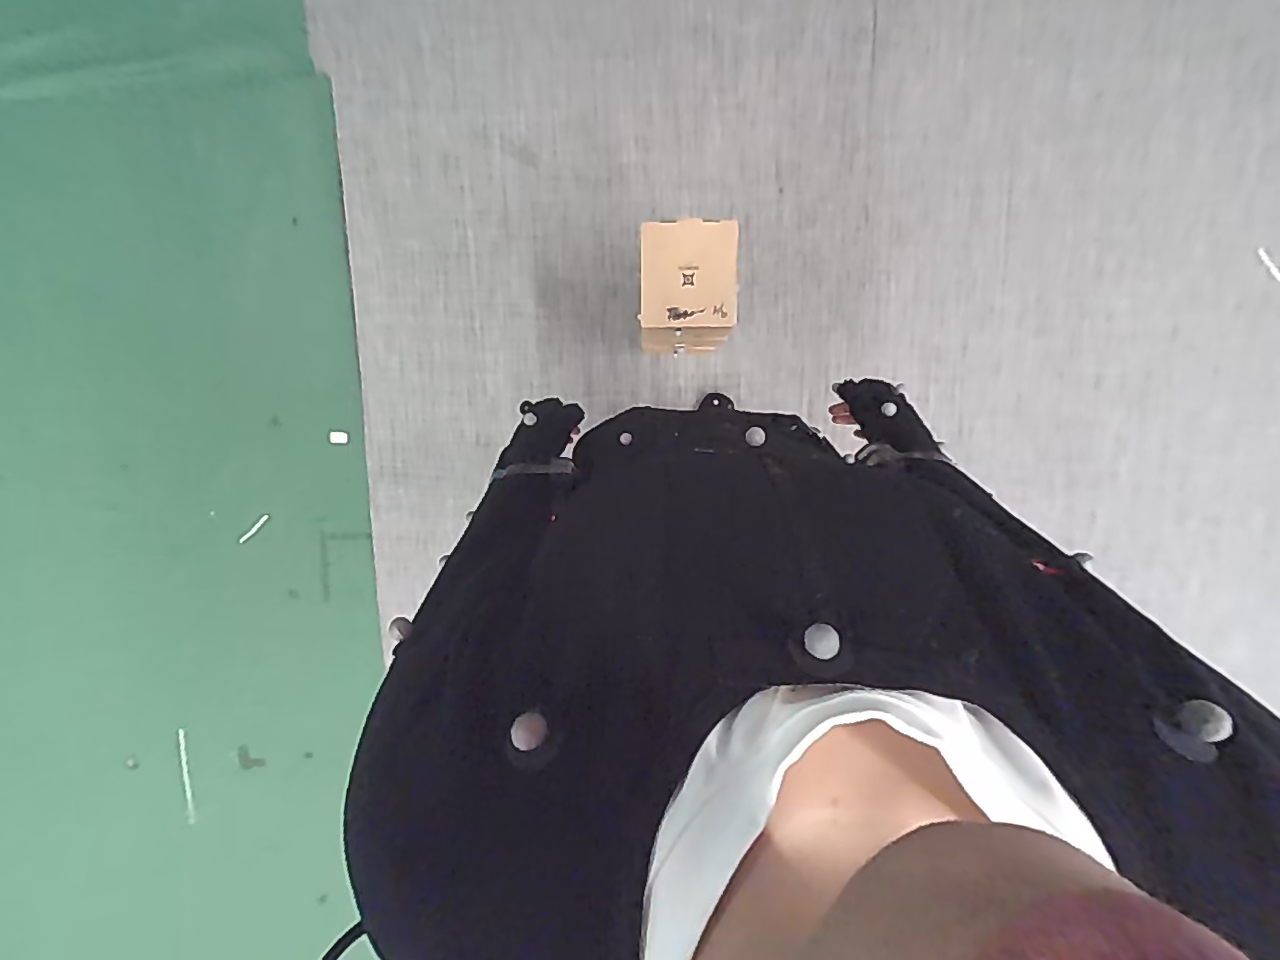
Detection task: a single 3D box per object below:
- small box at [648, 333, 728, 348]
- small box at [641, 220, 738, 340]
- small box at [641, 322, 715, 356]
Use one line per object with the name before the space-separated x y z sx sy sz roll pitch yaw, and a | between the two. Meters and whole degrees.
small box | 0.102 -0.382 1.165 0.168 0.176 0.179 1 99 4
small box | 0.087 -0.362 1.003 0.168 0.176 0.179 1 97 4
small box | 0.095 -0.397 1.326 0.179 0.176 0.168 1 98 4
